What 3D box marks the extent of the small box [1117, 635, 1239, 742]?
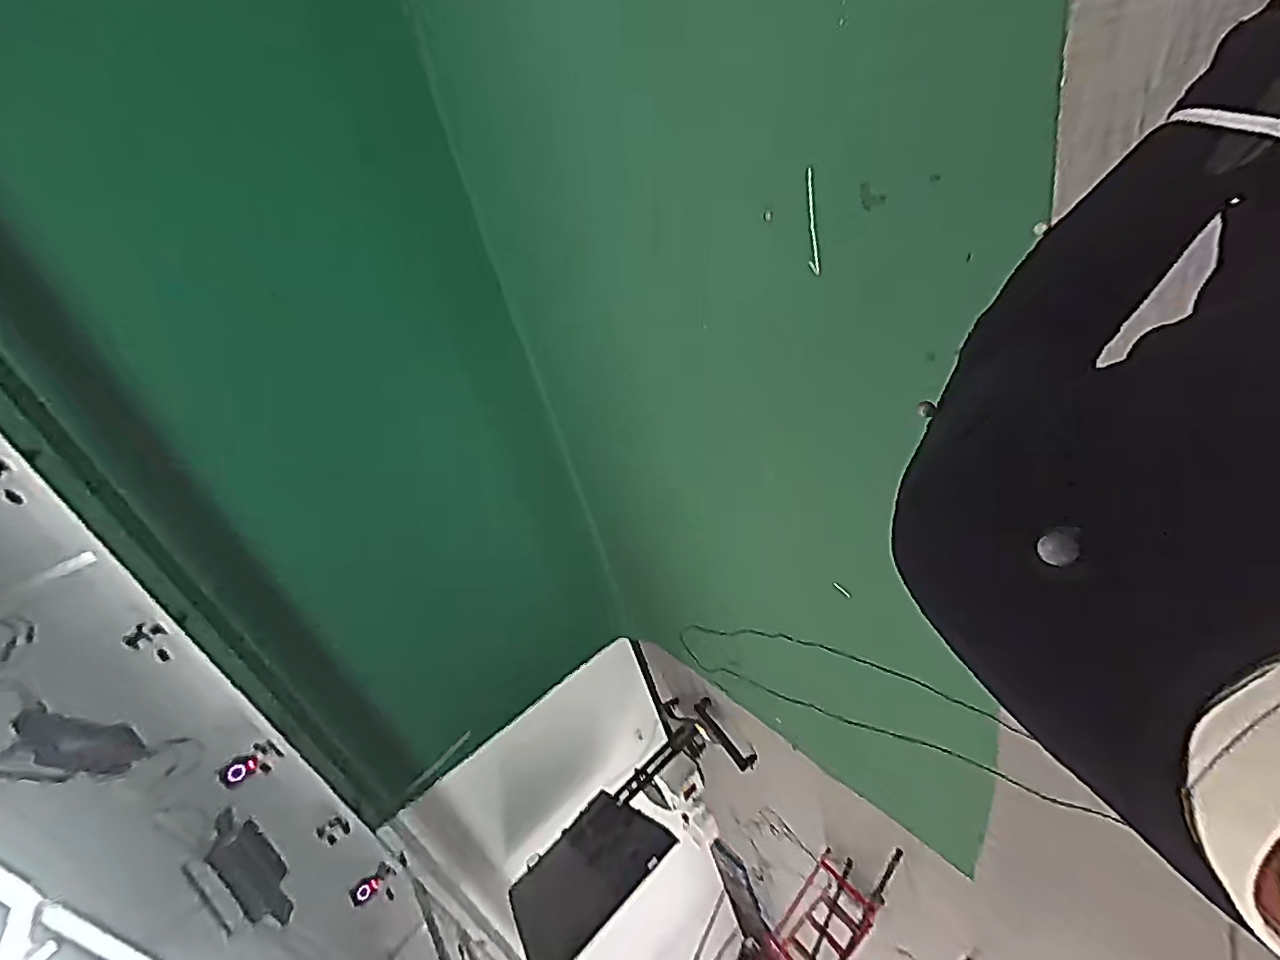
[{"bbox_3d":[1.319,0.488,1.327,0.168,0.176,0.179,22,135,48],"label":"small box"}]
